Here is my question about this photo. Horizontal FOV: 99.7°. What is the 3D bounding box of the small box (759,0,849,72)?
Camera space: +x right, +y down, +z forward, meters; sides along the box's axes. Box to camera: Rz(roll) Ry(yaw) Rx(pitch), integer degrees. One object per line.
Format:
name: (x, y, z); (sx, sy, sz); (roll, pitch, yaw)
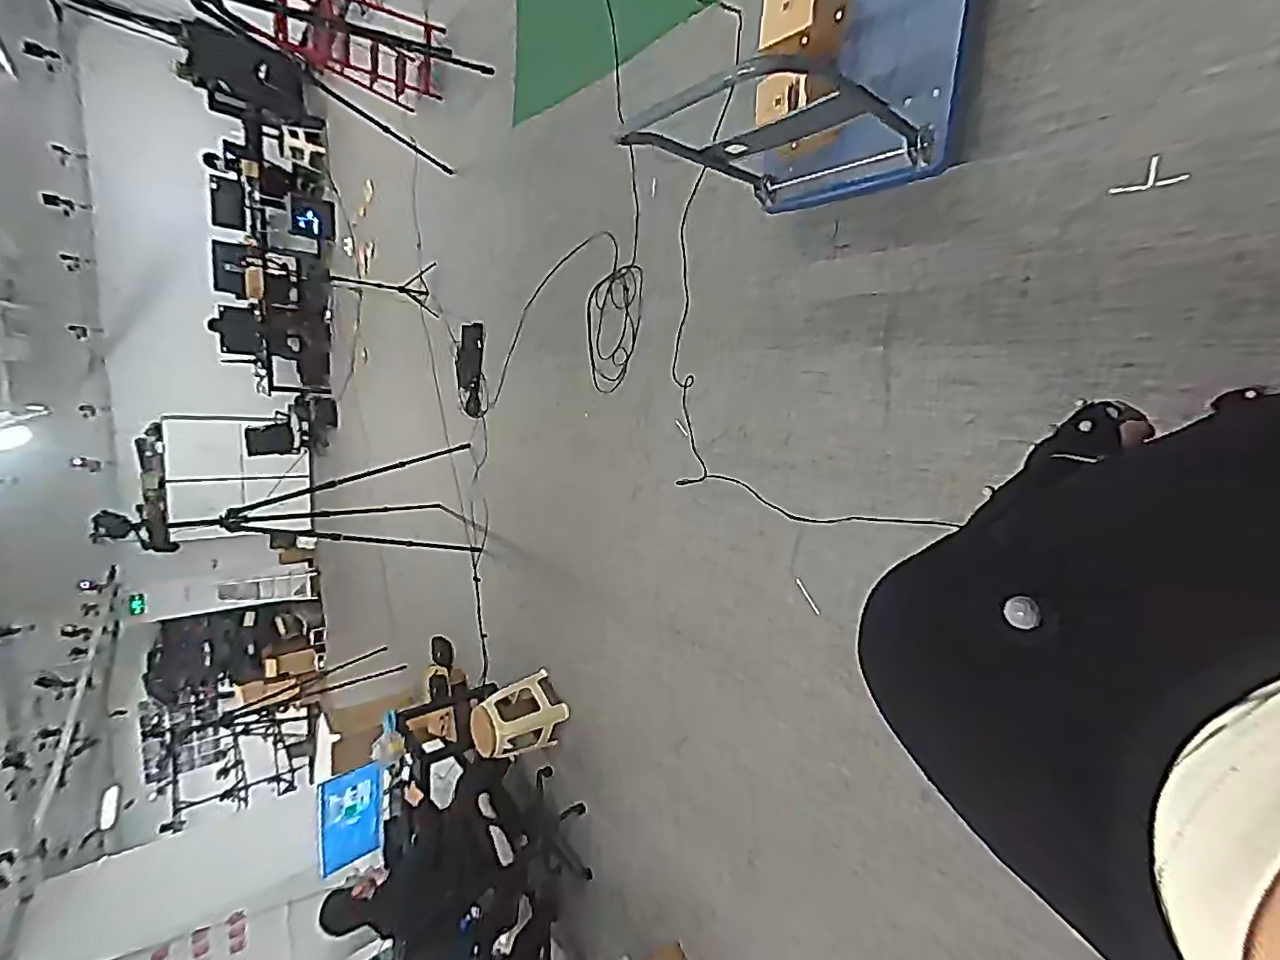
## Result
small box: (0.466, -1.308, 1.538); (0.179, 0.176, 0.168); (15, 104, 46)
